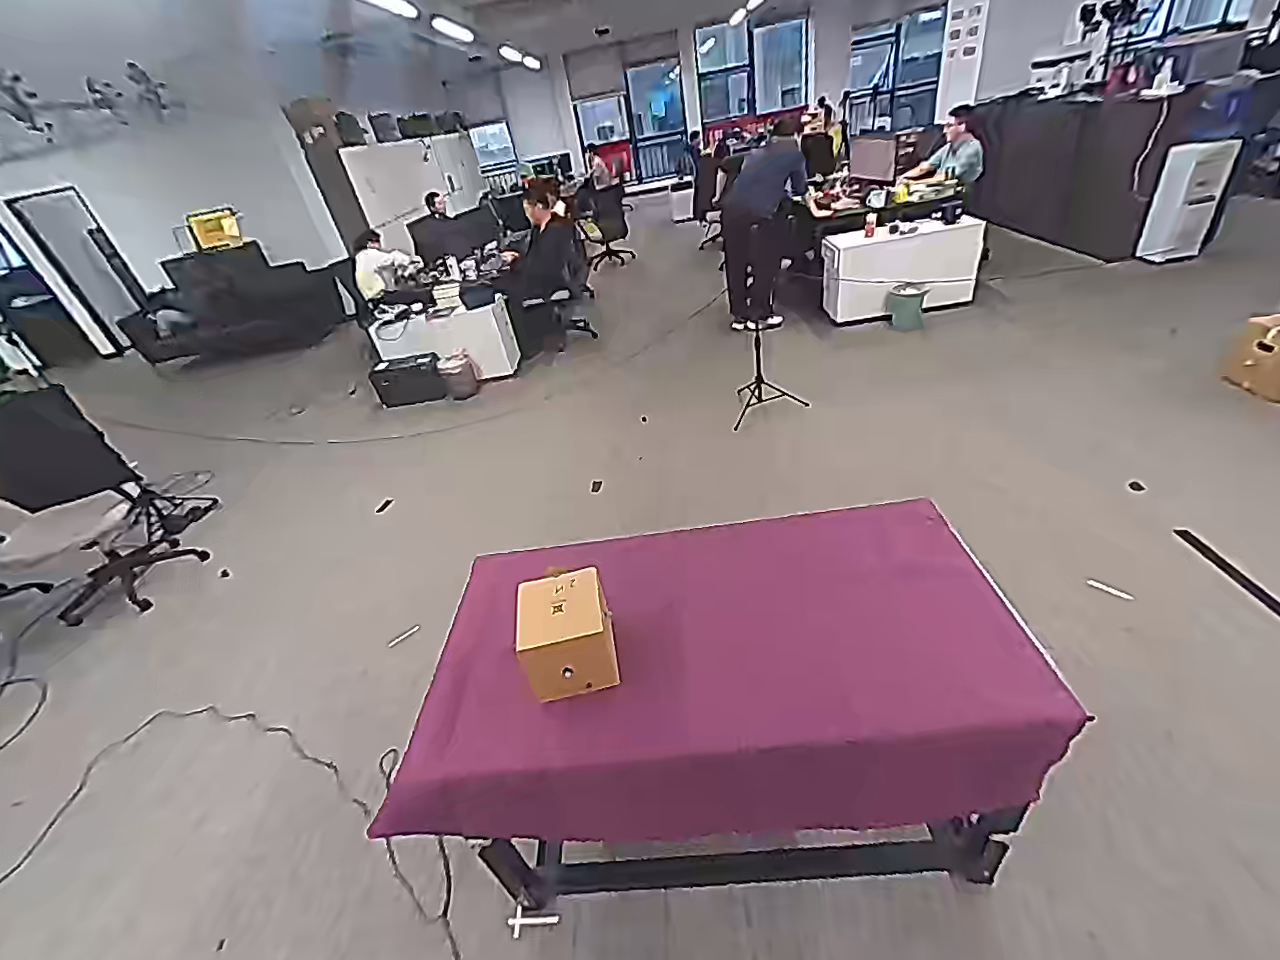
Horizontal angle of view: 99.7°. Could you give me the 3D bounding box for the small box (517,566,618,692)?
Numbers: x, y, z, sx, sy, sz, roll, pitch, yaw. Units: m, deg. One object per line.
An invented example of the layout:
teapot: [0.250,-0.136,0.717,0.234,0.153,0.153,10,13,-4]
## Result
small box: [-0.144,0.309,1.103,0.168,0.176,0.179,-12,34,-2]
